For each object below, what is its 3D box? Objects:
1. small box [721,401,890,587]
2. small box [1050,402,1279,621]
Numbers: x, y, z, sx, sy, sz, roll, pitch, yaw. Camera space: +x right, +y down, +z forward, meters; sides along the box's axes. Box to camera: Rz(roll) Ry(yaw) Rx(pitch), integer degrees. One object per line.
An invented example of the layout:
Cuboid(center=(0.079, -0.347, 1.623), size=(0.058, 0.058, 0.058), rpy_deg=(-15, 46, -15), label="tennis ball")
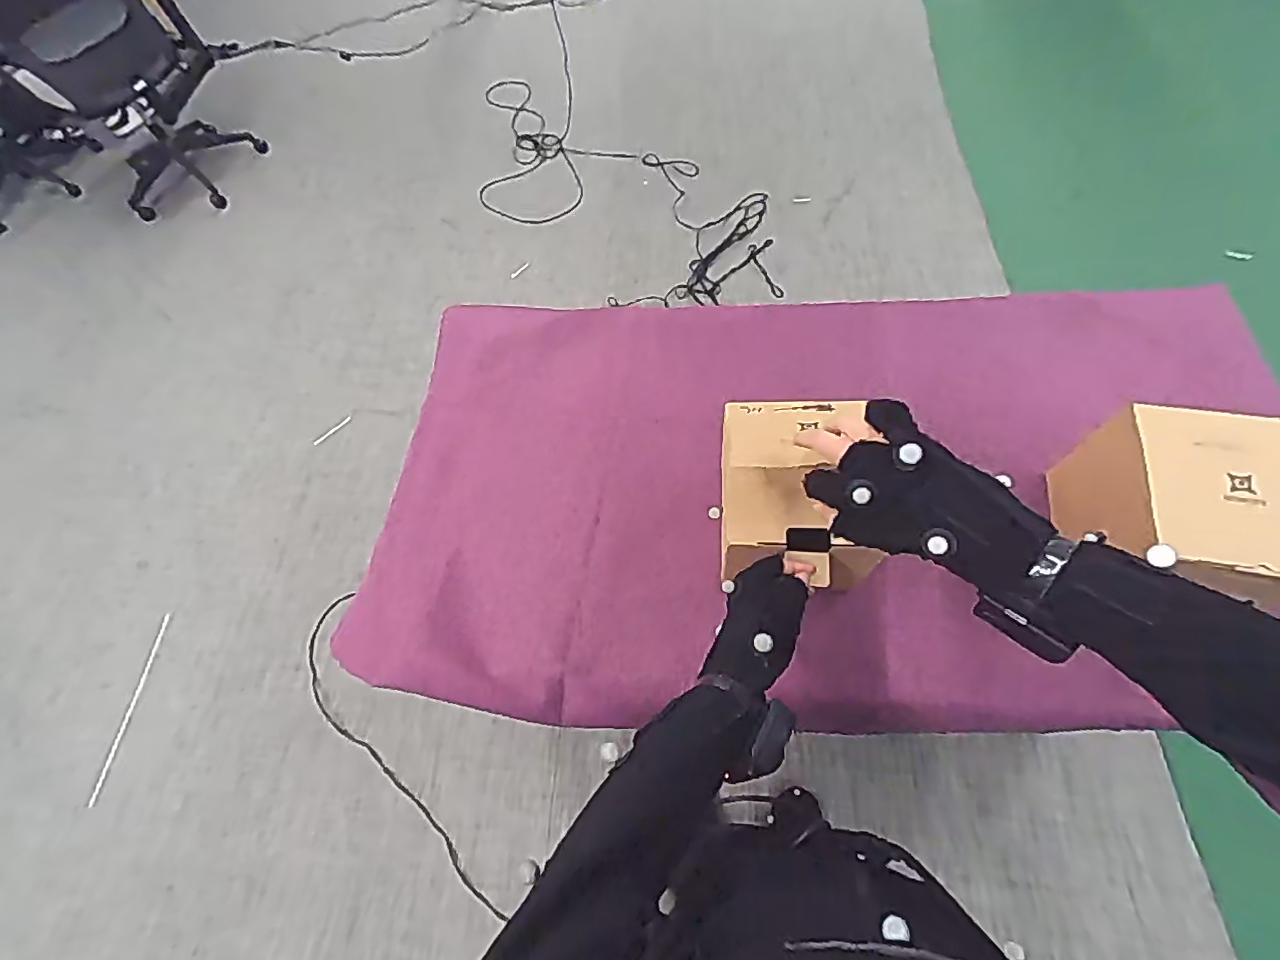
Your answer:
Cuboid(center=(0.184, 0.024, 0.651), size=(0.168, 0.176, 0.179), rpy_deg=(1, 64, 7), label="small box")
Cuboid(center=(0.586, 0.041, 0.588), size=(0.168, 0.176, 0.179), rpy_deg=(9, 65, 12), label="small box")
